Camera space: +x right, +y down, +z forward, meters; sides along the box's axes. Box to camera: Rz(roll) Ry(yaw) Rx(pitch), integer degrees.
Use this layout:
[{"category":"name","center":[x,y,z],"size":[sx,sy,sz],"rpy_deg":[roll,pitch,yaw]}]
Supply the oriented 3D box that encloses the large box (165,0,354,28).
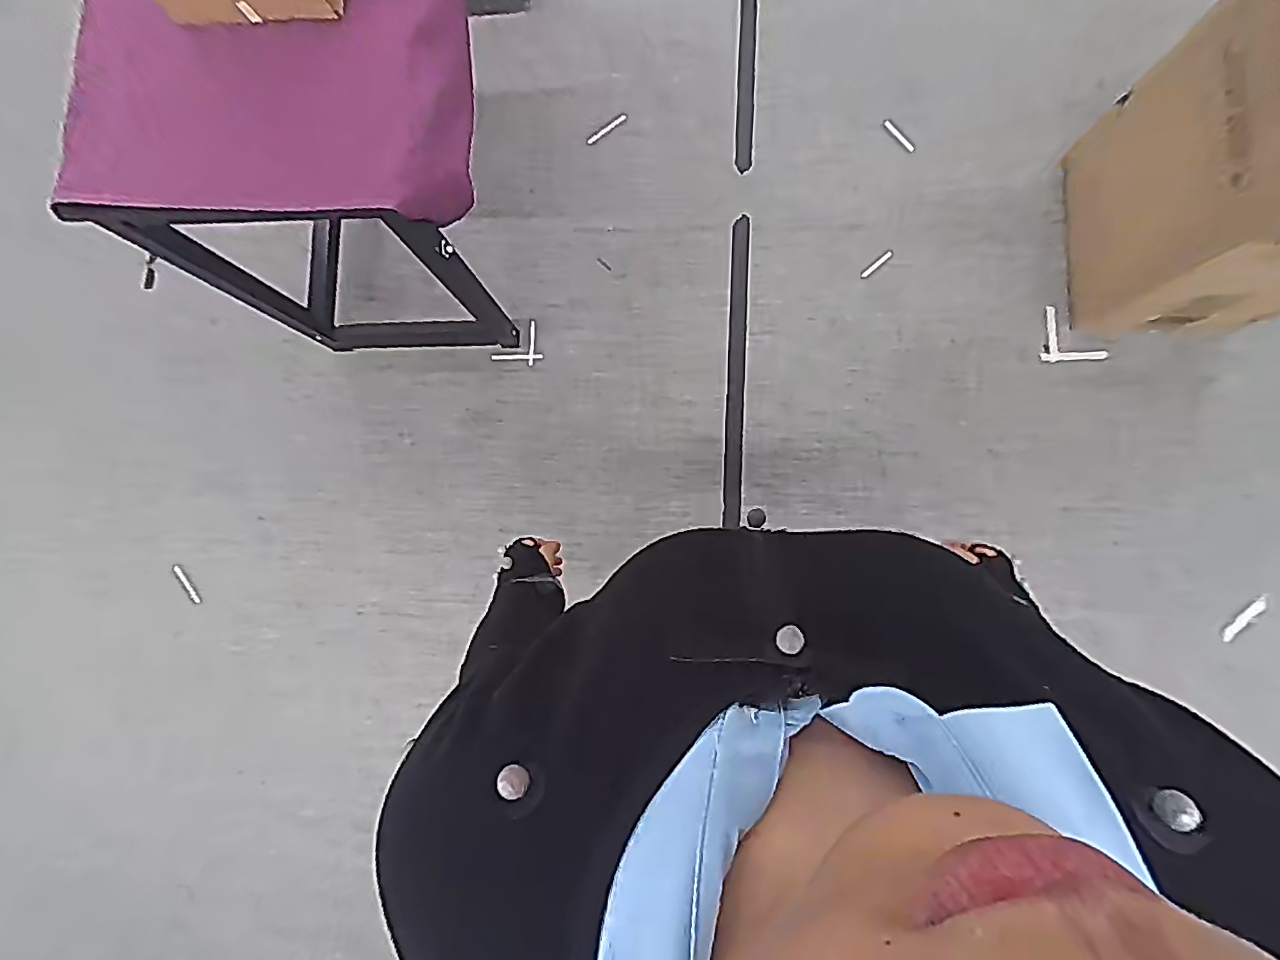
[{"category":"large box","center":[-0.642,-0.992,0.795],"size":[0.320,0.320,0.408],"rpy_deg":[2,86,7]}]
